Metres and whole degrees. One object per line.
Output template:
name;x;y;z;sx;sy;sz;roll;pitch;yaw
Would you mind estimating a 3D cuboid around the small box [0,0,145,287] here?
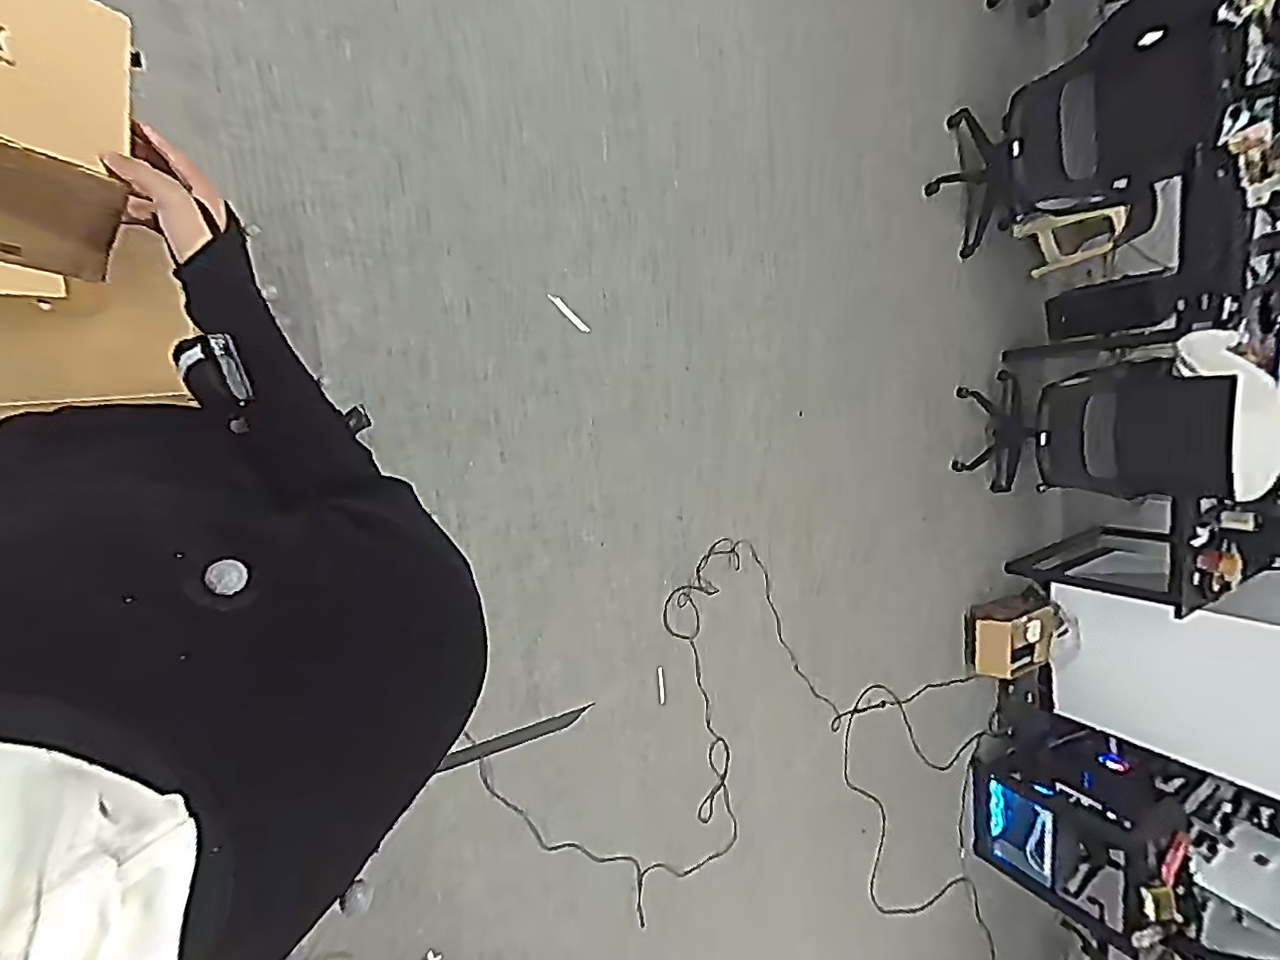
small box;-0.542;-0.298;0.453;0.168;0.176;0.179;3;72;-51
